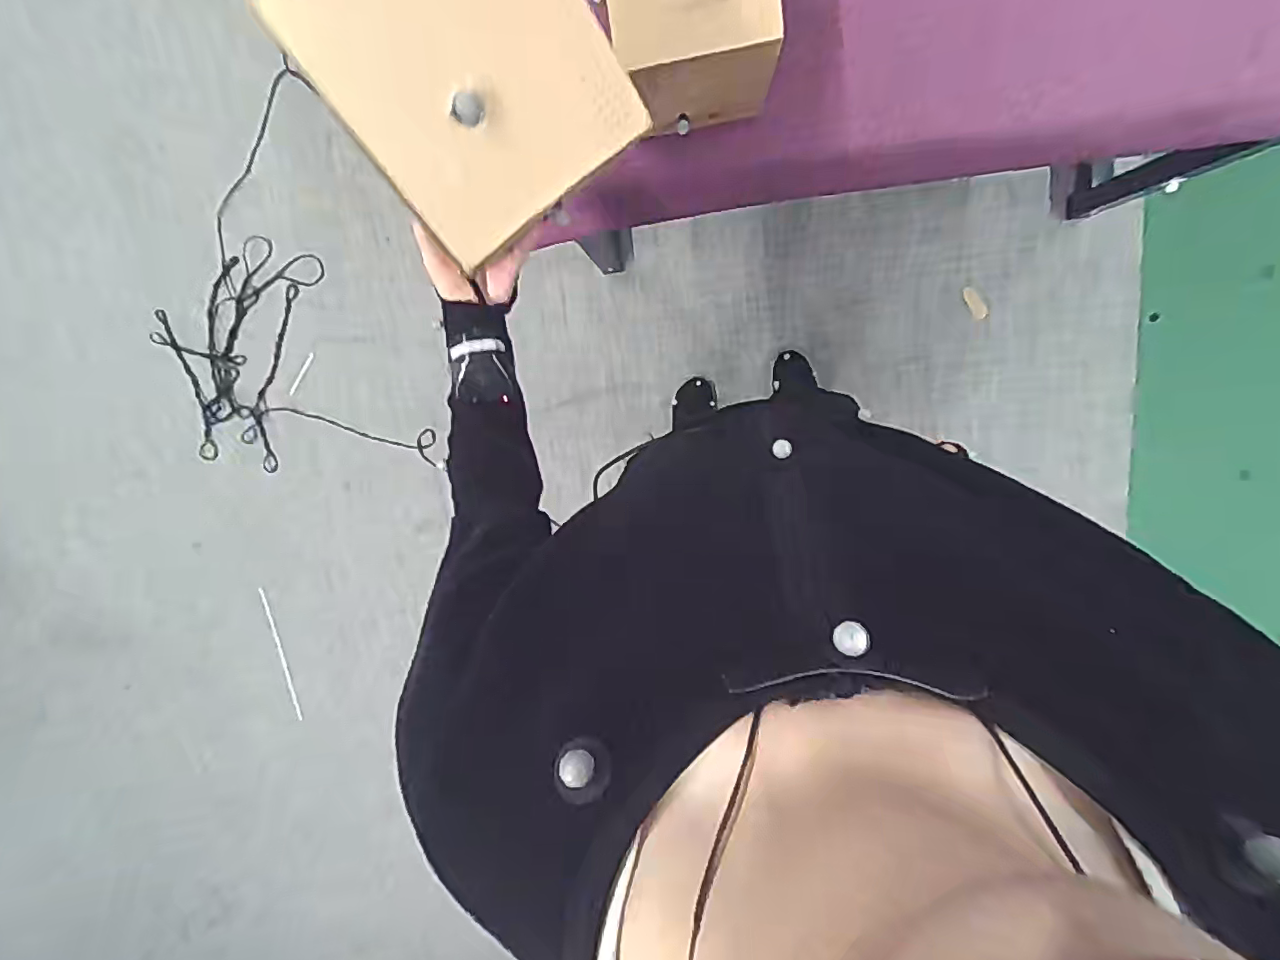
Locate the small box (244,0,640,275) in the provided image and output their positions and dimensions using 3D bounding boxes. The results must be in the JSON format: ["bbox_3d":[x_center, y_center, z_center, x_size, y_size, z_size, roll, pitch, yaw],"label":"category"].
[{"bbox_3d":[-0.124,-0.279,0.400,0.176,0.168,0.179,-39,115,2],"label":"small box"}]

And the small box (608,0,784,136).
[{"bbox_3d":[0.052,-0.512,0.583,0.168,0.176,0.179,-7,101,7],"label":"small box"}]
